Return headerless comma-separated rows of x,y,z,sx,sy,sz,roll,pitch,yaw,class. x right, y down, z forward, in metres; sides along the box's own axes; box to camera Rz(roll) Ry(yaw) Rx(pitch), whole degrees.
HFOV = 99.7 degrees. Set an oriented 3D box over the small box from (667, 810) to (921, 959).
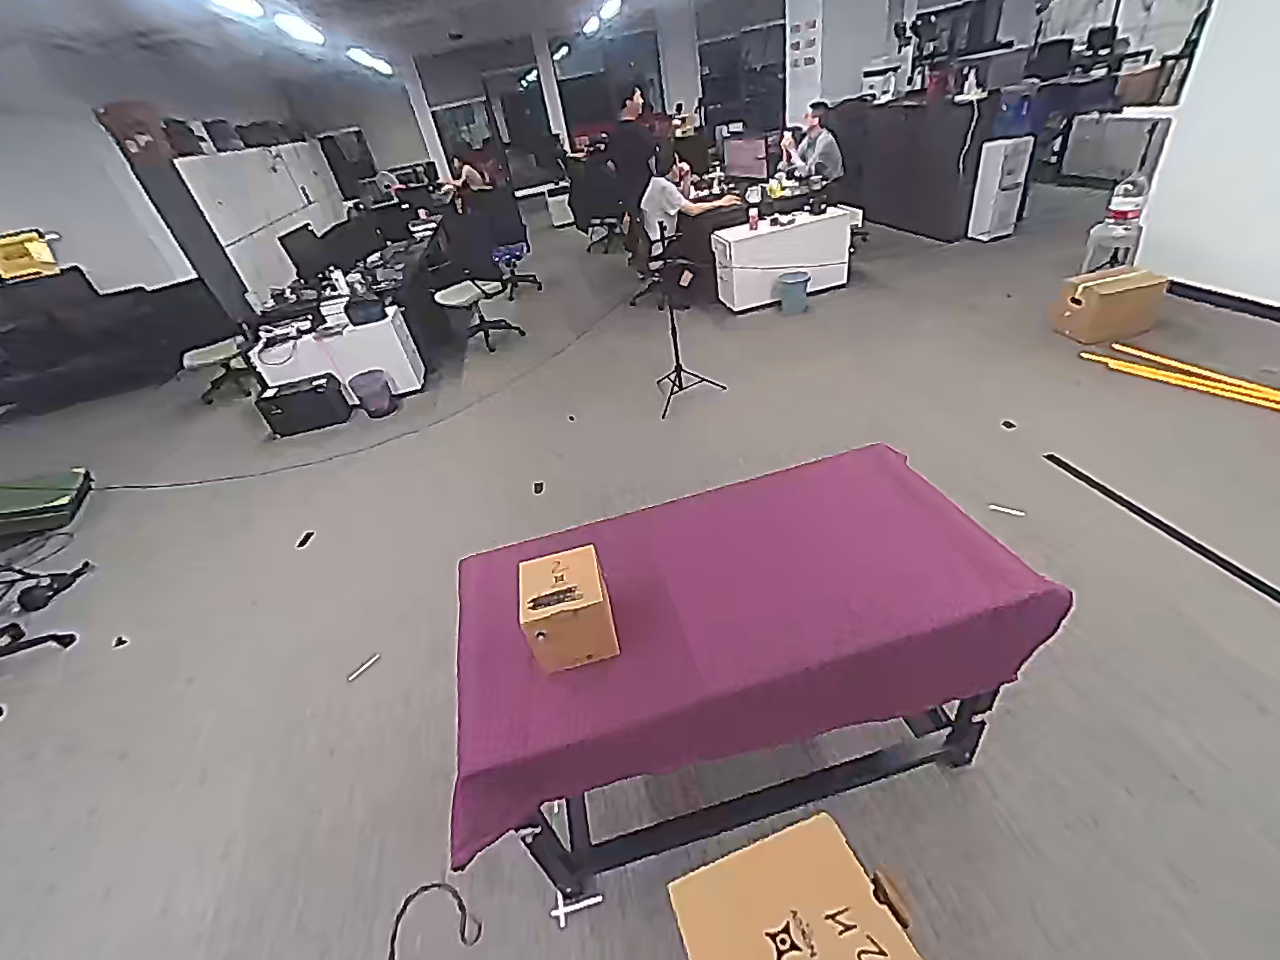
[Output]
0.144,0.456,0.489,0.179,0.176,0.168,-18,24,-10,small box
